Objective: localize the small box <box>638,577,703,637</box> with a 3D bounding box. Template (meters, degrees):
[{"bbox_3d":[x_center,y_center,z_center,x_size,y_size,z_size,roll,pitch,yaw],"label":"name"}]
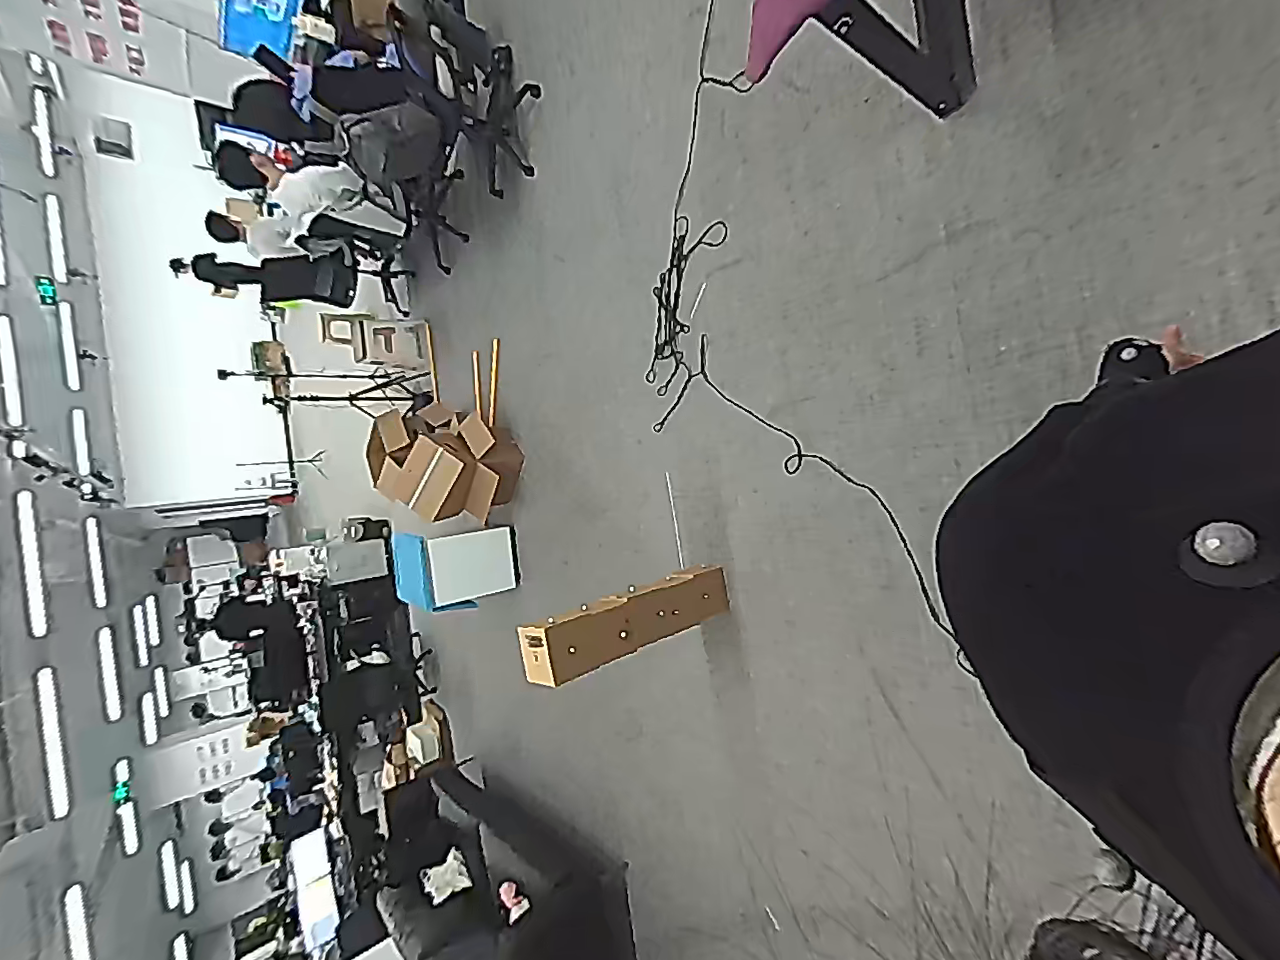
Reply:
[{"bbox_3d":[0.115,0.468,2.012,0.168,0.176,0.179,-11,87,50],"label":"small box"}]

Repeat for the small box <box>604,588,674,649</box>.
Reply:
[{"bbox_3d":[-0.001,0.478,1.897,0.168,0.176,0.179,-14,84,50],"label":"small box"}]

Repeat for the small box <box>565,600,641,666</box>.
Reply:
[{"bbox_3d":[-0.123,0.500,1.791,0.179,0.176,0.168,-14,85,49],"label":"small box"}]

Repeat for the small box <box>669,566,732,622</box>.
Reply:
[{"bbox_3d":[0.240,0.442,2.115,0.168,0.176,0.179,-12,86,51],"label":"small box"}]
